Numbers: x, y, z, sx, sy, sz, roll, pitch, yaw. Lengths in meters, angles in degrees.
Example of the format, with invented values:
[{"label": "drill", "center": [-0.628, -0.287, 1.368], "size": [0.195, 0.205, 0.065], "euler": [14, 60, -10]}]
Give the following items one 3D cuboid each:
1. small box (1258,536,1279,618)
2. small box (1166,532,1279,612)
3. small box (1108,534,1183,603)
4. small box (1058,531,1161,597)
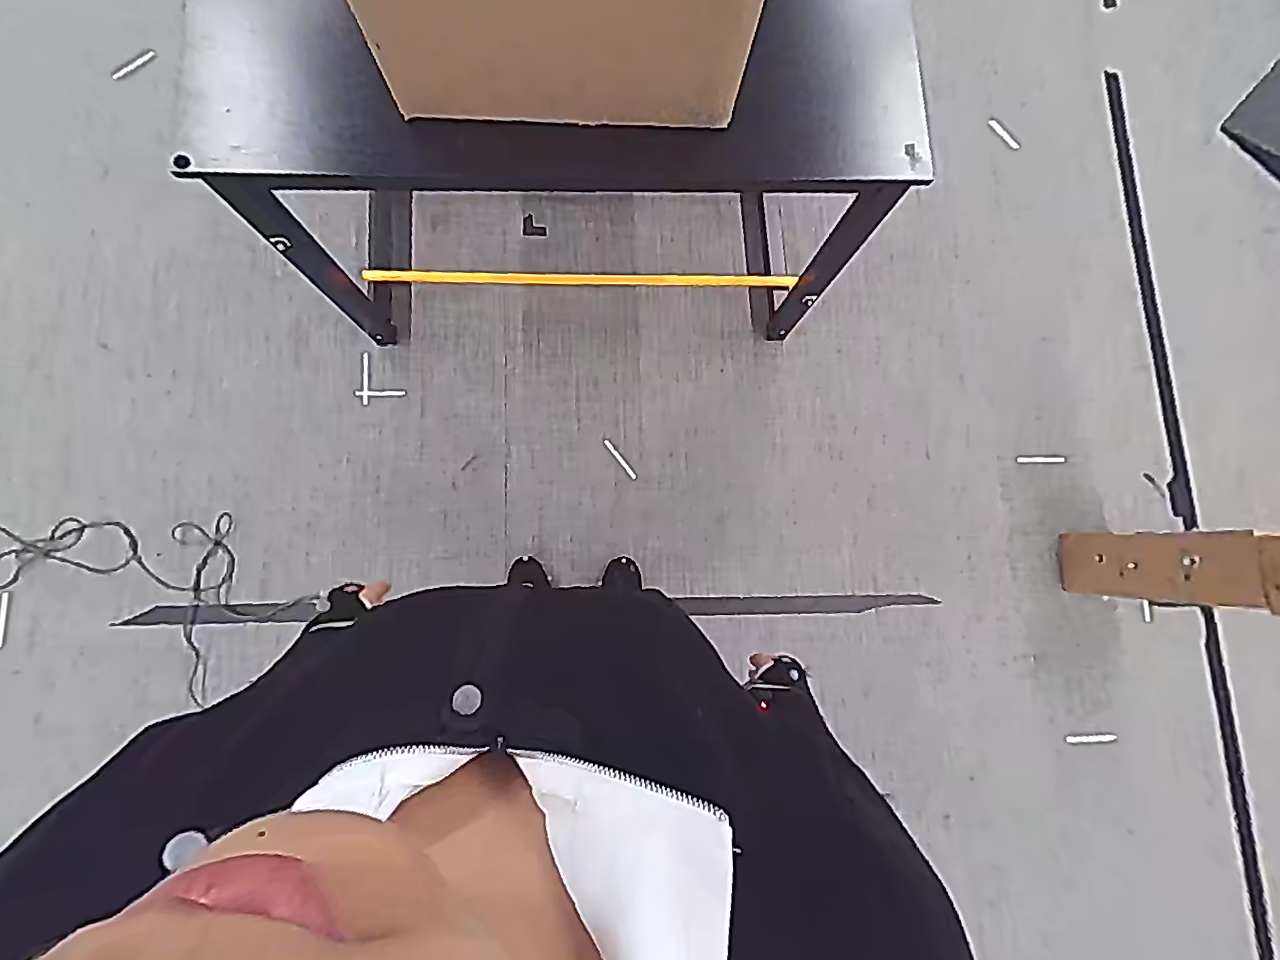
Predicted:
[{"label": "small box", "center": [1.355, 0.186, 1.035], "size": [0.179, 0.176, 0.168], "euler": [-1, 82, -4]}, {"label": "small box", "center": [1.334, 0.202, 1.197], "size": [0.179, 0.176, 0.168], "euler": [2, 82, -3]}, {"label": "small box", "center": [1.337, 0.223, 1.359], "size": [0.179, 0.176, 0.168], "euler": [3, 82, -3]}, {"label": "small box", "center": [1.320, 0.237, 1.522], "size": [0.168, 0.176, 0.179], "euler": [3, 83, -3]}]
